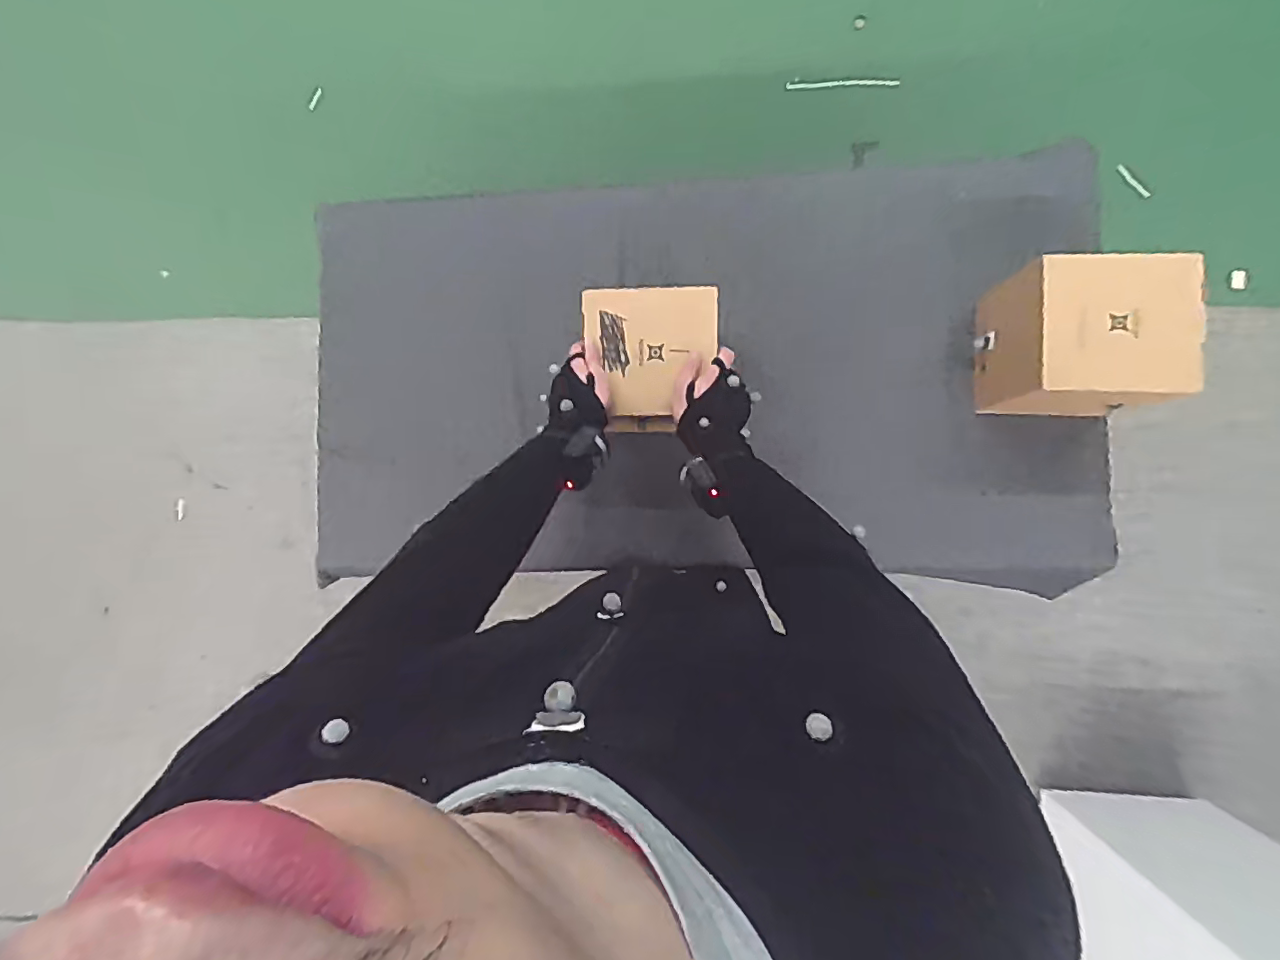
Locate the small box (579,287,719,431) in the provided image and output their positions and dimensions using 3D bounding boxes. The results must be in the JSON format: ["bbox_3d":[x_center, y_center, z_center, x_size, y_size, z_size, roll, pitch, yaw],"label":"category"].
[{"bbox_3d":[0.018,-0.159,0.761,0.179,0.176,0.168,1,89,5],"label":"small box"}]

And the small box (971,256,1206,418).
[{"bbox_3d":[0.567,-0.176,0.705,0.179,0.176,0.168,2,88,7],"label":"small box"}]
